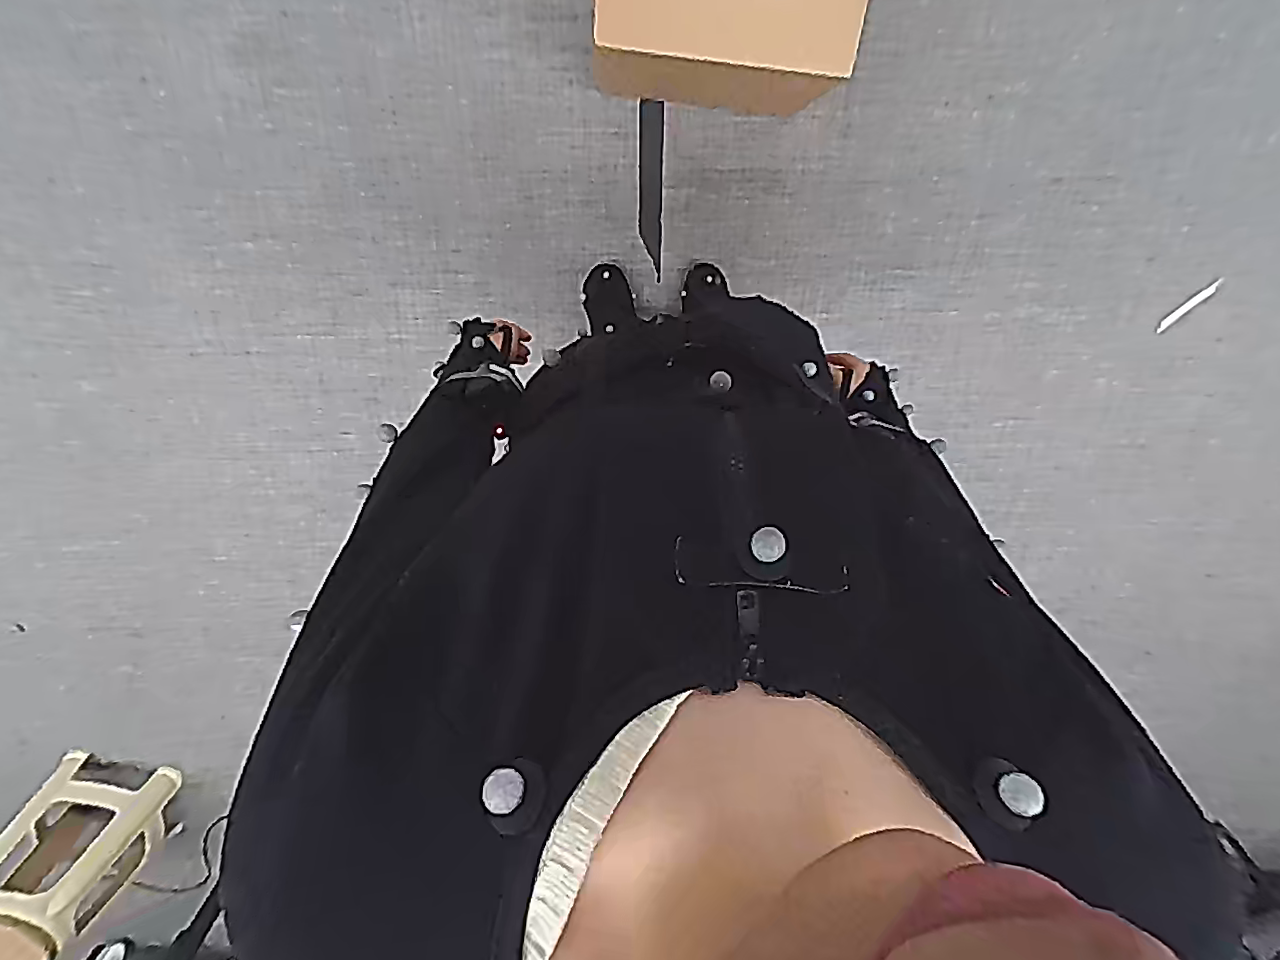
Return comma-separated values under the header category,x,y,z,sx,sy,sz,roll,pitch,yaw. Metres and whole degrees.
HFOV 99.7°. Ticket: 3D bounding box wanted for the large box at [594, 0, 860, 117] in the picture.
category,x,y,z,sx,sy,sz,roll,pitch,yaw
large box,0.127,-0.837,0.908,0.408,0.320,0.320,3,115,-6
